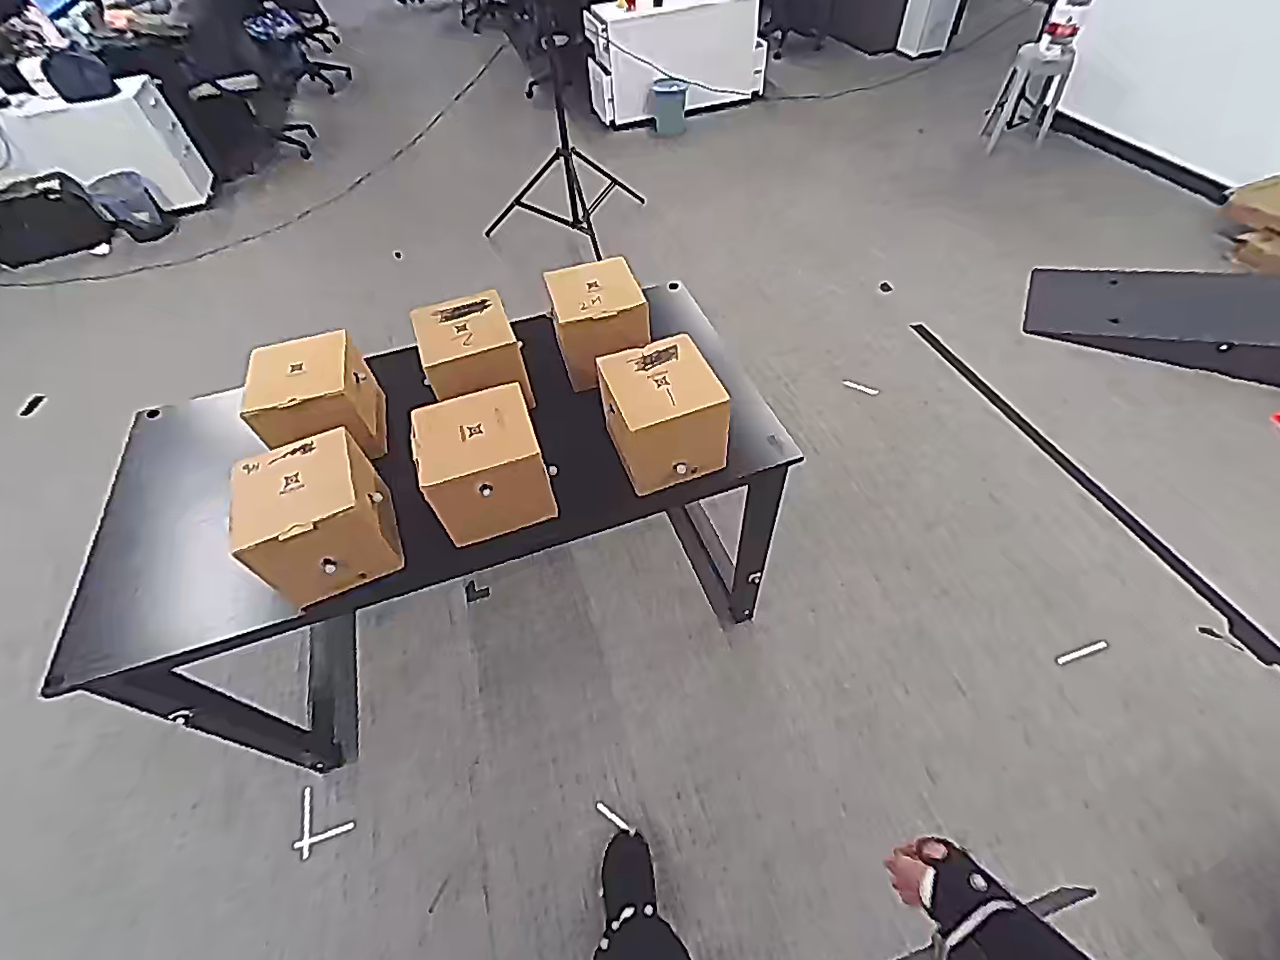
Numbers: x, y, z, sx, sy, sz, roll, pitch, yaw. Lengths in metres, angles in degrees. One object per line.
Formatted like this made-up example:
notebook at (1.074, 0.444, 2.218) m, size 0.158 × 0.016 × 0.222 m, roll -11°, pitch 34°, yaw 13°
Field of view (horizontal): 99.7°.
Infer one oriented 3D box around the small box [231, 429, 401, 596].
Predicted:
small box at (-0.490, 0.058, 0.835) m, size 0.168 × 0.176 × 0.179 m, roll -22°, pitch 54°, yaw -12°

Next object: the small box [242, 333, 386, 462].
small box at (-0.586, -0.138, 0.996) m, size 0.168 × 0.176 × 0.179 m, roll -16°, pitch 53°, yaw -8°

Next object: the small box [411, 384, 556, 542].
small box at (-0.250, -0.023, 0.881) m, size 0.179 × 0.176 × 0.168 m, roll -17°, pitch 53°, yaw -10°

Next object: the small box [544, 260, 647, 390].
small box at (-0.087, -0.310, 1.090) m, size 0.168 × 0.176 × 0.179 m, roll -16°, pitch 53°, yaw -7°

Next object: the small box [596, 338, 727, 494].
small box at (0.034, -0.108, 0.921) m, size 0.168 × 0.176 × 0.179 m, roll -19°, pitch 53°, yaw -9°
